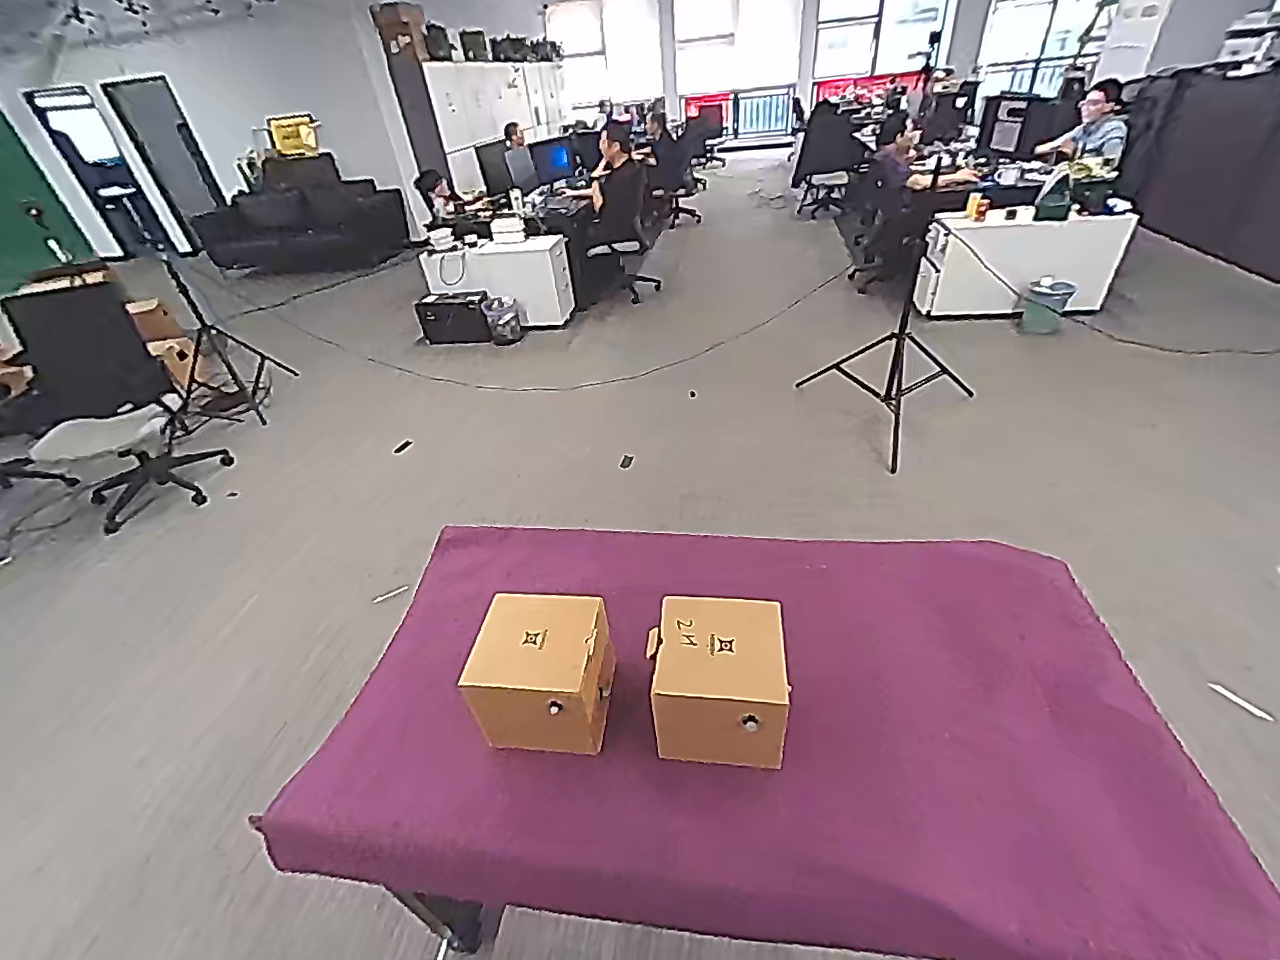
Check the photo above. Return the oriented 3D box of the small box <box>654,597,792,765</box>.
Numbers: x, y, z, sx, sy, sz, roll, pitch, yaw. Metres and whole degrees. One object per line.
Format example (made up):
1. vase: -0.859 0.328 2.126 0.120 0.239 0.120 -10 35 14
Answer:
1. small box: 0.121 0.293 0.792 0.179 0.176 0.168 0 36 9

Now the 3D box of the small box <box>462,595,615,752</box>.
1. small box: -0.143 0.297 0.832 0.179 0.176 0.168 0 37 8
